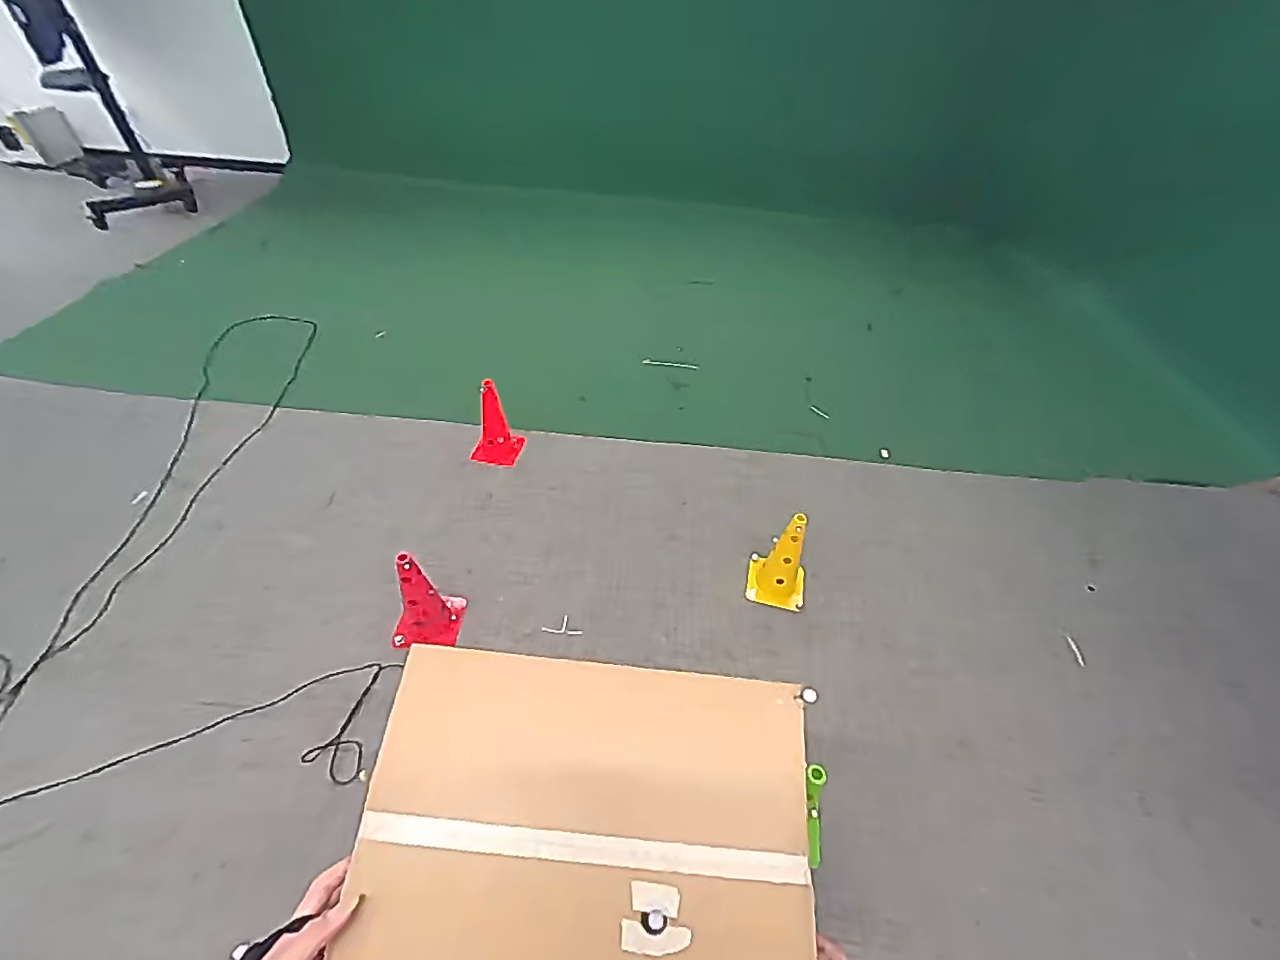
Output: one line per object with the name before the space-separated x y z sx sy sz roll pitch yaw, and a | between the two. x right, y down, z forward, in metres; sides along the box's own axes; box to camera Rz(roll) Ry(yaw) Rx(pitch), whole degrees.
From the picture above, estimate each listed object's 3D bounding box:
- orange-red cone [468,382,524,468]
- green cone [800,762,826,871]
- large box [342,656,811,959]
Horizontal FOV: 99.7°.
orange-red cone | -0.625 -0.249 2.259 0.199 0.360 0.198 10 44 7
green cone | 0.383 0.777 1.312 0.200 0.368 0.202 10 44 5
large box | -0.053 0.404 0.625 0.408 0.320 0.320 5 63 0
